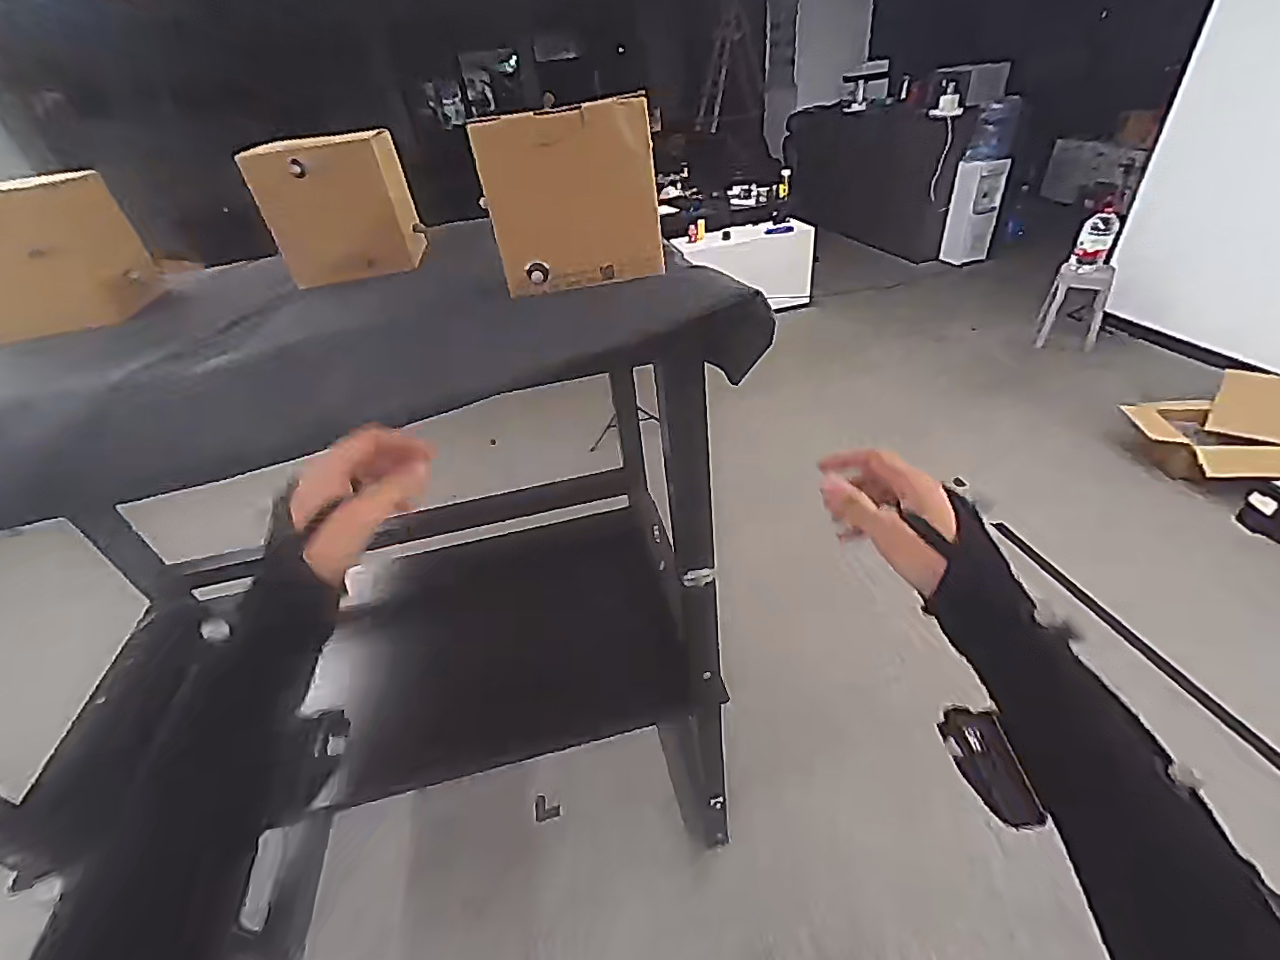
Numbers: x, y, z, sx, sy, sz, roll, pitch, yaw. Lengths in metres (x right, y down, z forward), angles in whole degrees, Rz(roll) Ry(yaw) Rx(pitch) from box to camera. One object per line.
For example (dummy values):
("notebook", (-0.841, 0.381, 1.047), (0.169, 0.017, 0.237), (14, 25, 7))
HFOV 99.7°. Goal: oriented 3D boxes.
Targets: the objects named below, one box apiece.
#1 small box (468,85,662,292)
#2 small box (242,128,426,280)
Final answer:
("small box", (-0.076, -0.316, 0.599), (0.168, 0.176, 0.179), (-11, 33, -4))
("small box", (-0.427, -0.406, 0.794), (0.168, 0.176, 0.179), (-13, 36, -7))
